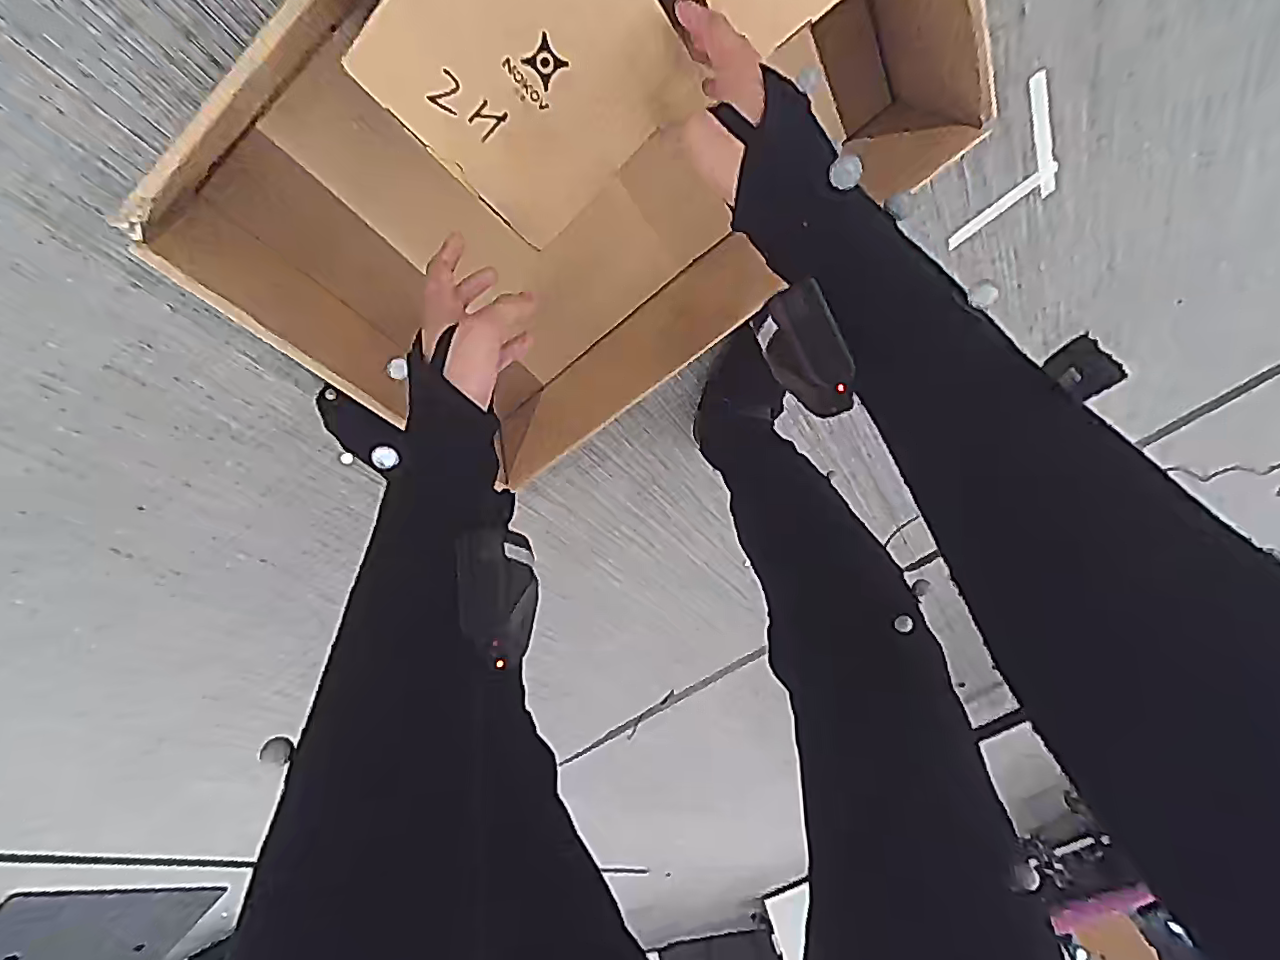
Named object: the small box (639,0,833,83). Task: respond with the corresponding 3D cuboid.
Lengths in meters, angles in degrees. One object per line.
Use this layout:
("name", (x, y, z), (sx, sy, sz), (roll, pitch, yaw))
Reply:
("small box", (0.063, -0.426, 0.370), (0.168, 0.176, 0.179), (-34, 137, 15))
